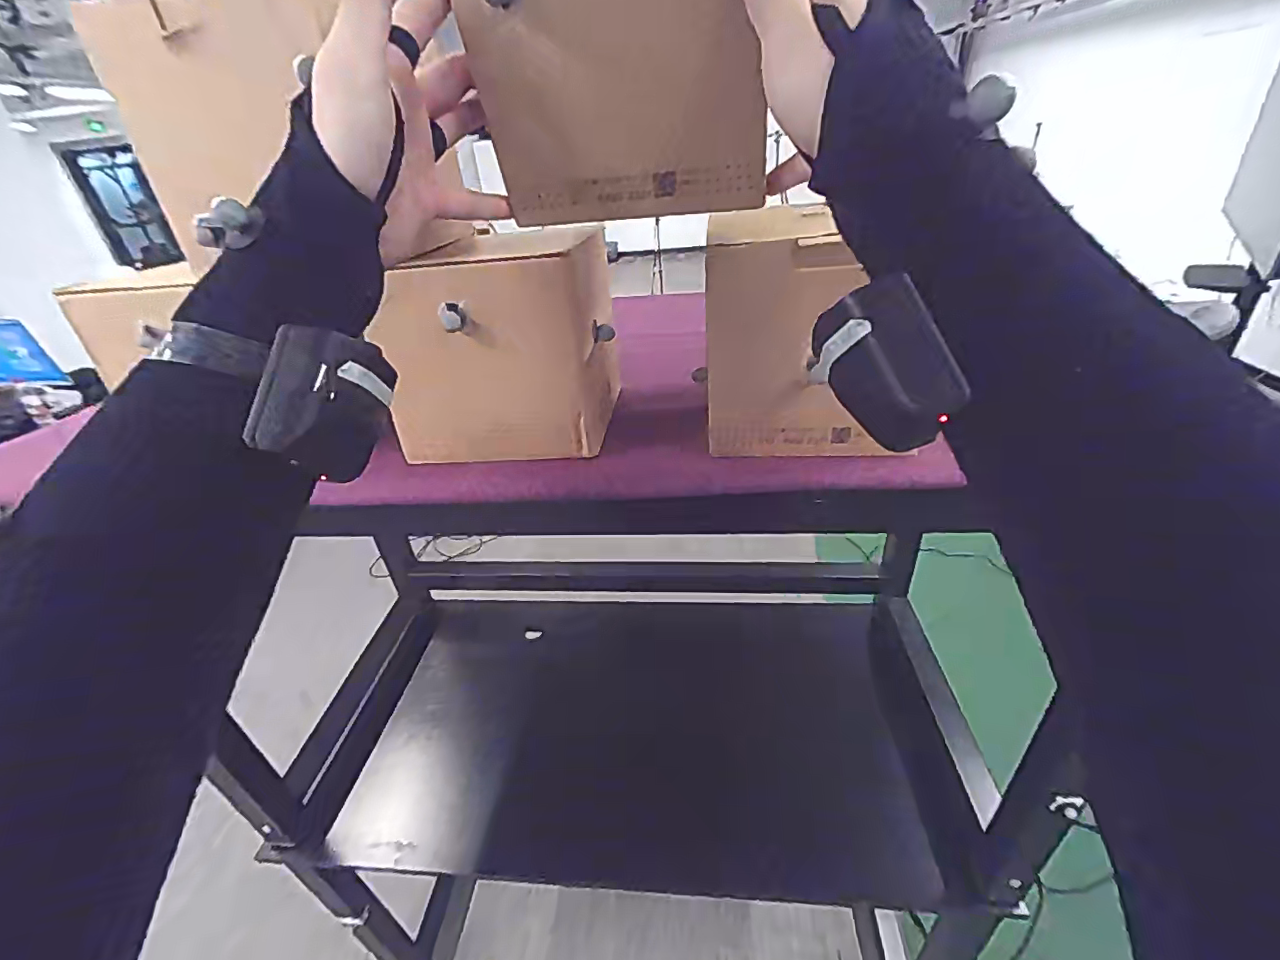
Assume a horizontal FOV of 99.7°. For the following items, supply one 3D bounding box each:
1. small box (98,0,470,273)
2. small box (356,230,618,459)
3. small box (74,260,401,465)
[{"bbox_3d":[-0.262,-0.274,0.456,0.168,0.176,0.179,-1,30,7],"label":"small box"},{"bbox_3d":[-0.120,-0.129,0.513,0.179,0.176,0.168,-2,31,7],"label":"small box"},{"bbox_3d":[-0.375,-0.125,0.545,0.179,0.176,0.168,2,32,11],"label":"small box"}]
